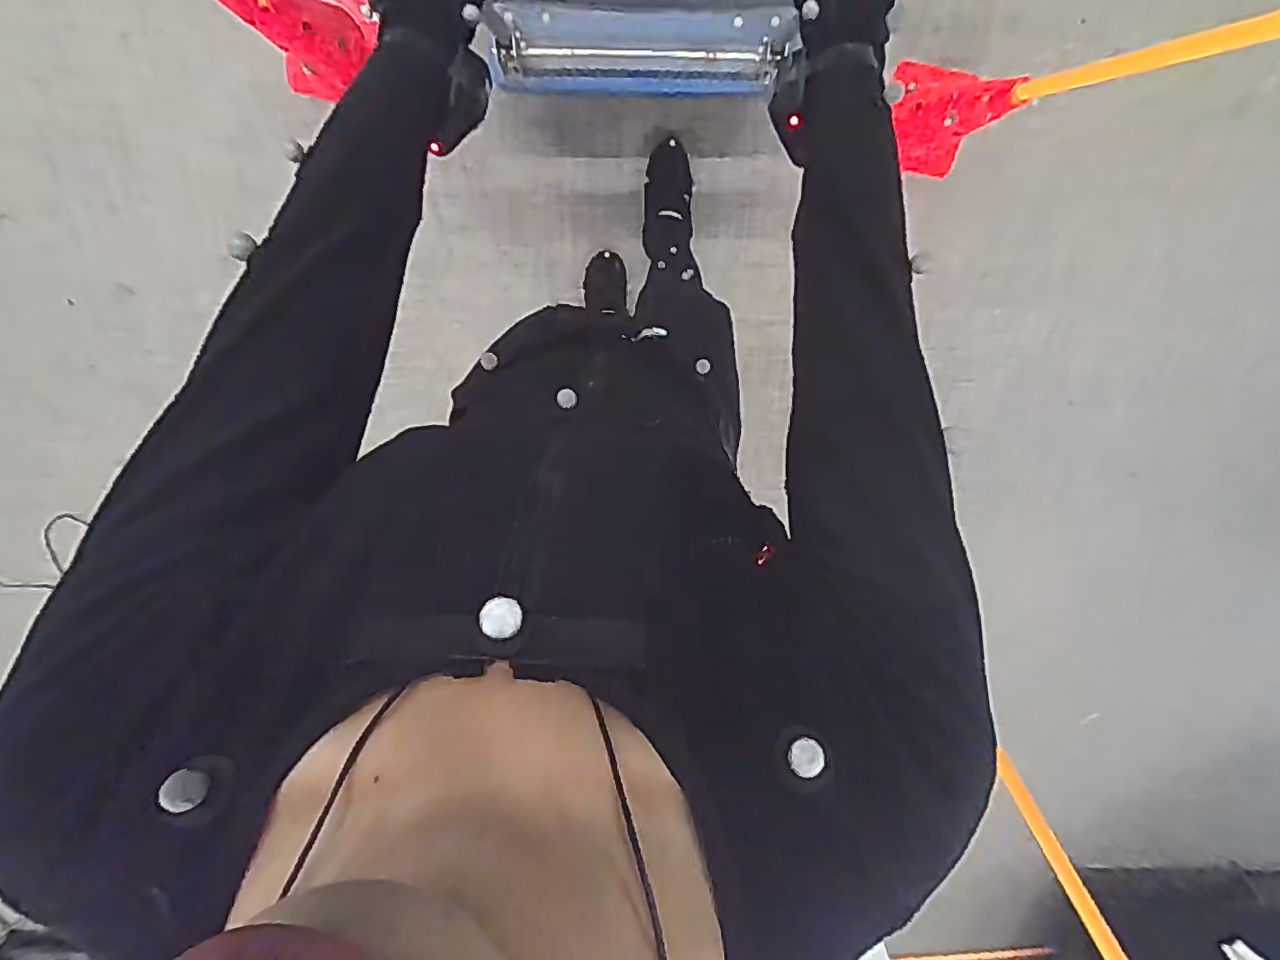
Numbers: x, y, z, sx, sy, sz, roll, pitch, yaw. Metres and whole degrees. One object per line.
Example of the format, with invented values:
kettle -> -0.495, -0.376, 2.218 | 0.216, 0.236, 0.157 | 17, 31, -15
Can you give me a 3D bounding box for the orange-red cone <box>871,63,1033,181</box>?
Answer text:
orange-red cone -> 0.636, -0.716, 1.051 | 0.198, 0.360, 0.199 | 10, 117, -4
